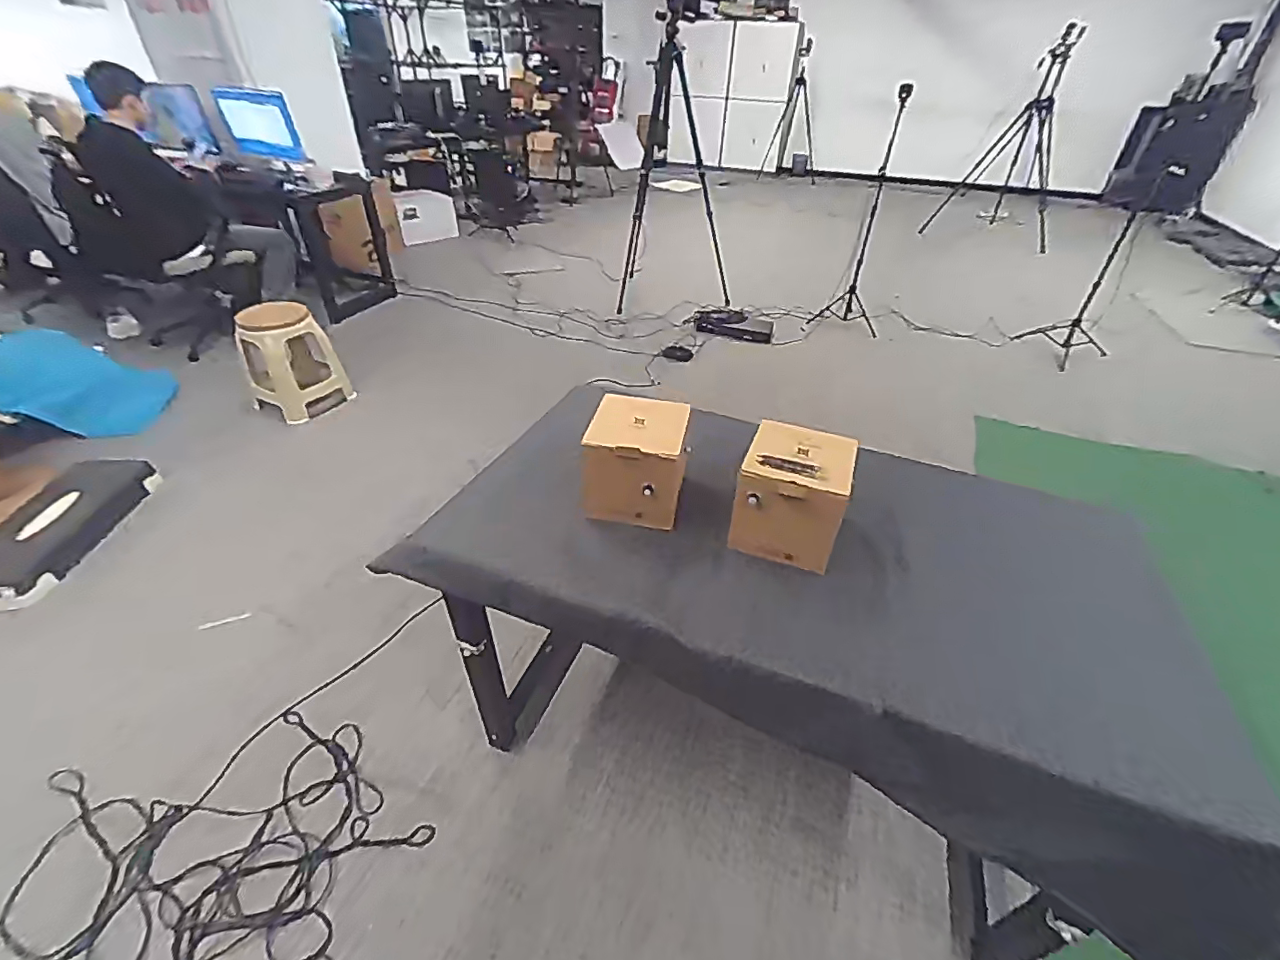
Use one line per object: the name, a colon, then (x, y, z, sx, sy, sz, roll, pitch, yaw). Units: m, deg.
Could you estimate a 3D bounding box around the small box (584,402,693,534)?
small box: (0.000, -0.022, 0.993, 0.168, 0.176, 0.179, 9, 37, 7)
